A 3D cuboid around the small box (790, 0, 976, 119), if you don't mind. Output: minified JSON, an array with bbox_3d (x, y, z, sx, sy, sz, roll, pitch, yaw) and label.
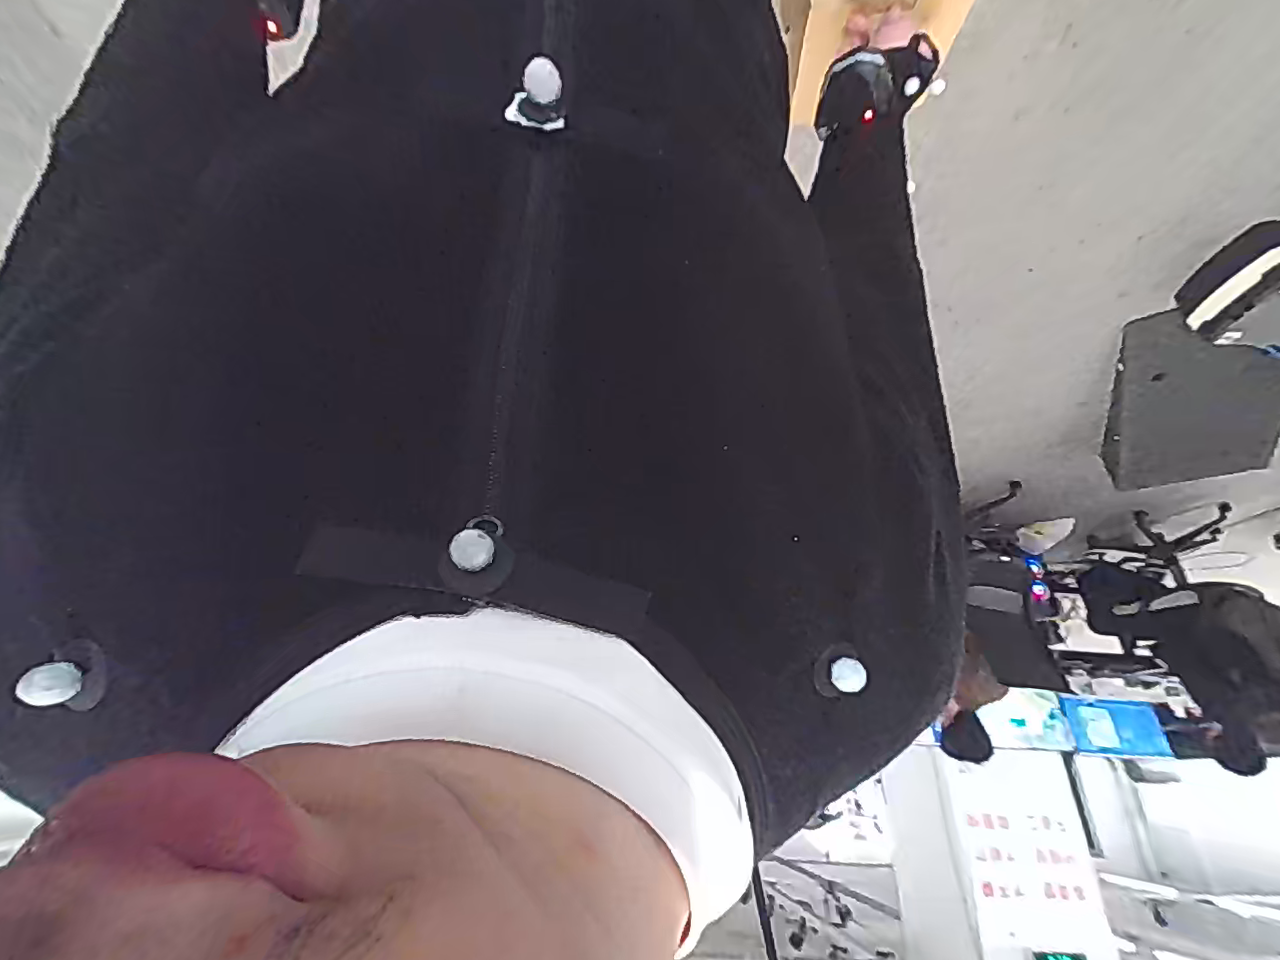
[{"bbox_3d":[0.267,-0.548,0.611,0.168,0.179,0.176,-7,175,11],"label":"small box"}]
